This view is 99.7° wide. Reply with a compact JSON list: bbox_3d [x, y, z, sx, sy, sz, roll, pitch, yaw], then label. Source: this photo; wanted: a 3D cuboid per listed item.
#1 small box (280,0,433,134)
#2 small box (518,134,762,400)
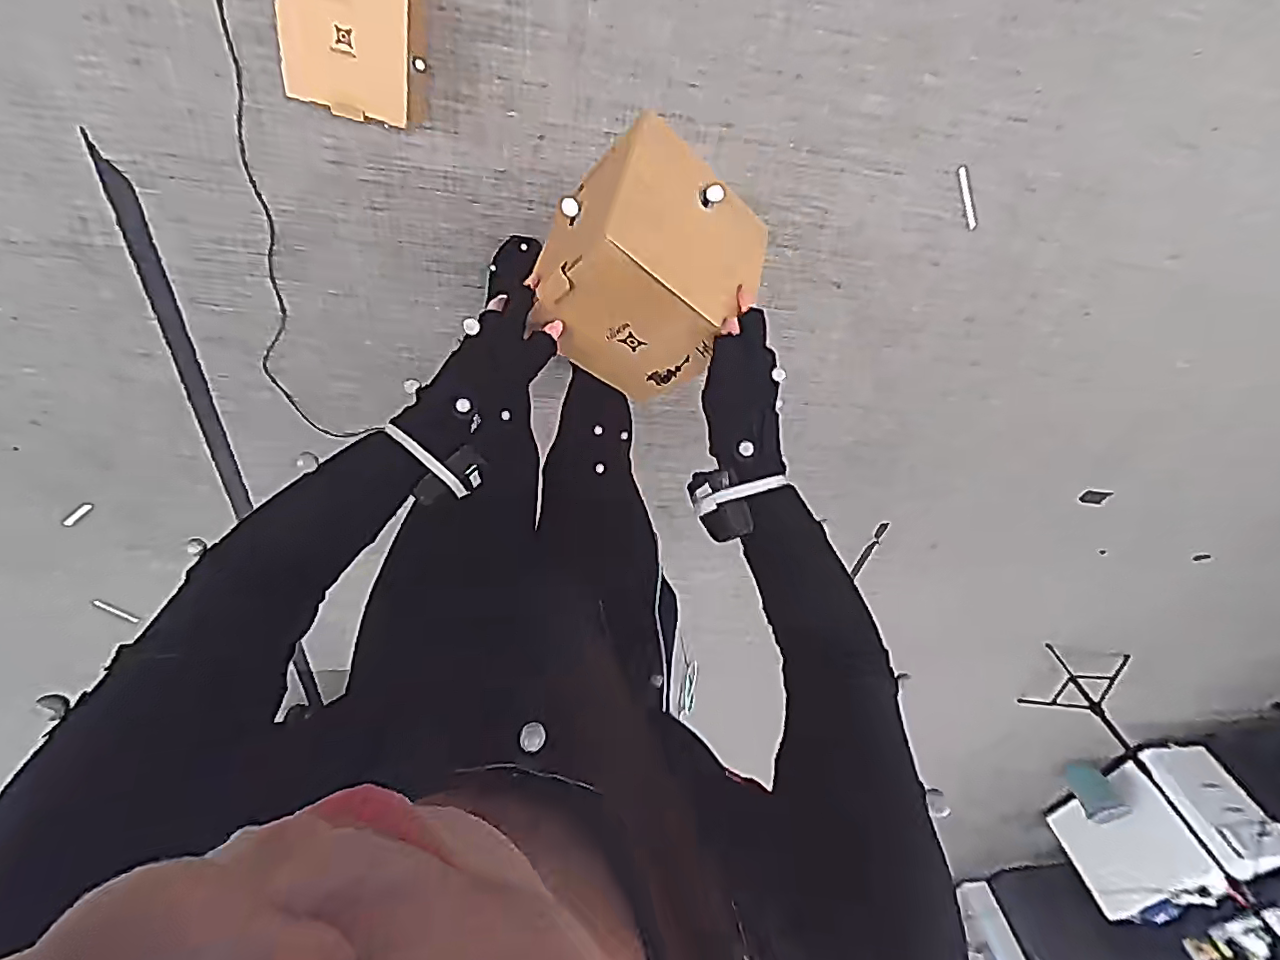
[{"bbox_3d":[-0.411,-0.649,0.807,0.168,0.176,0.179,8,127,-15],"label":"small box"},{"bbox_3d":[0.005,-0.218,0.569,0.179,0.176,0.168,29,153,-29],"label":"small box"}]
